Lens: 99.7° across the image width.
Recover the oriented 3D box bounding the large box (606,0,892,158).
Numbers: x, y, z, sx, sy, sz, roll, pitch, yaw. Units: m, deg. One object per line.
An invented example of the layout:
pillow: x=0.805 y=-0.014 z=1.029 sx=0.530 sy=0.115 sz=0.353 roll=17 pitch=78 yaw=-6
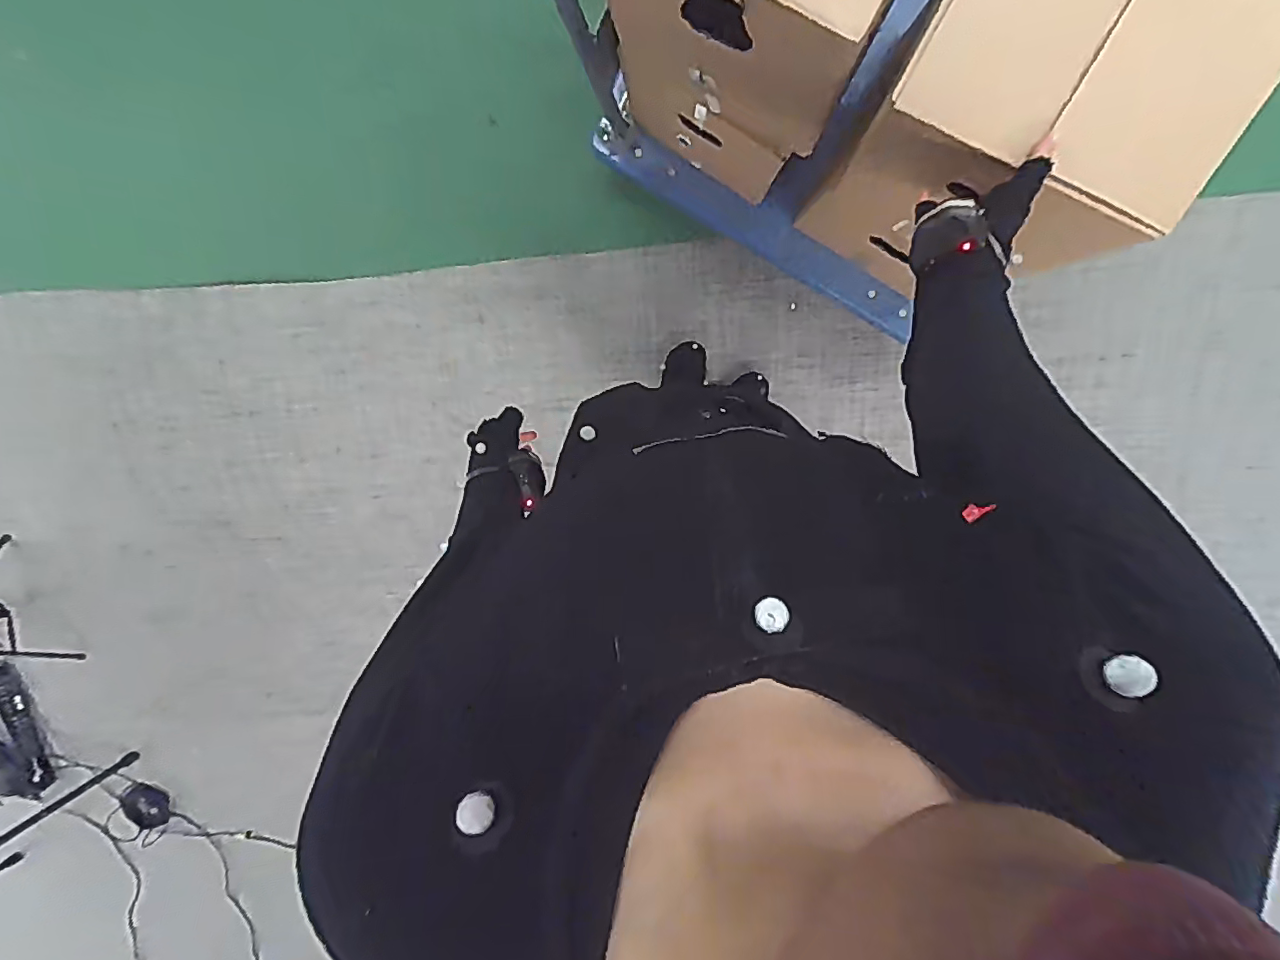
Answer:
large box: x=0.180 y=-0.687 z=0.627 sx=0.320 sy=0.320 sz=0.408 roll=28 pitch=104 yaw=2
